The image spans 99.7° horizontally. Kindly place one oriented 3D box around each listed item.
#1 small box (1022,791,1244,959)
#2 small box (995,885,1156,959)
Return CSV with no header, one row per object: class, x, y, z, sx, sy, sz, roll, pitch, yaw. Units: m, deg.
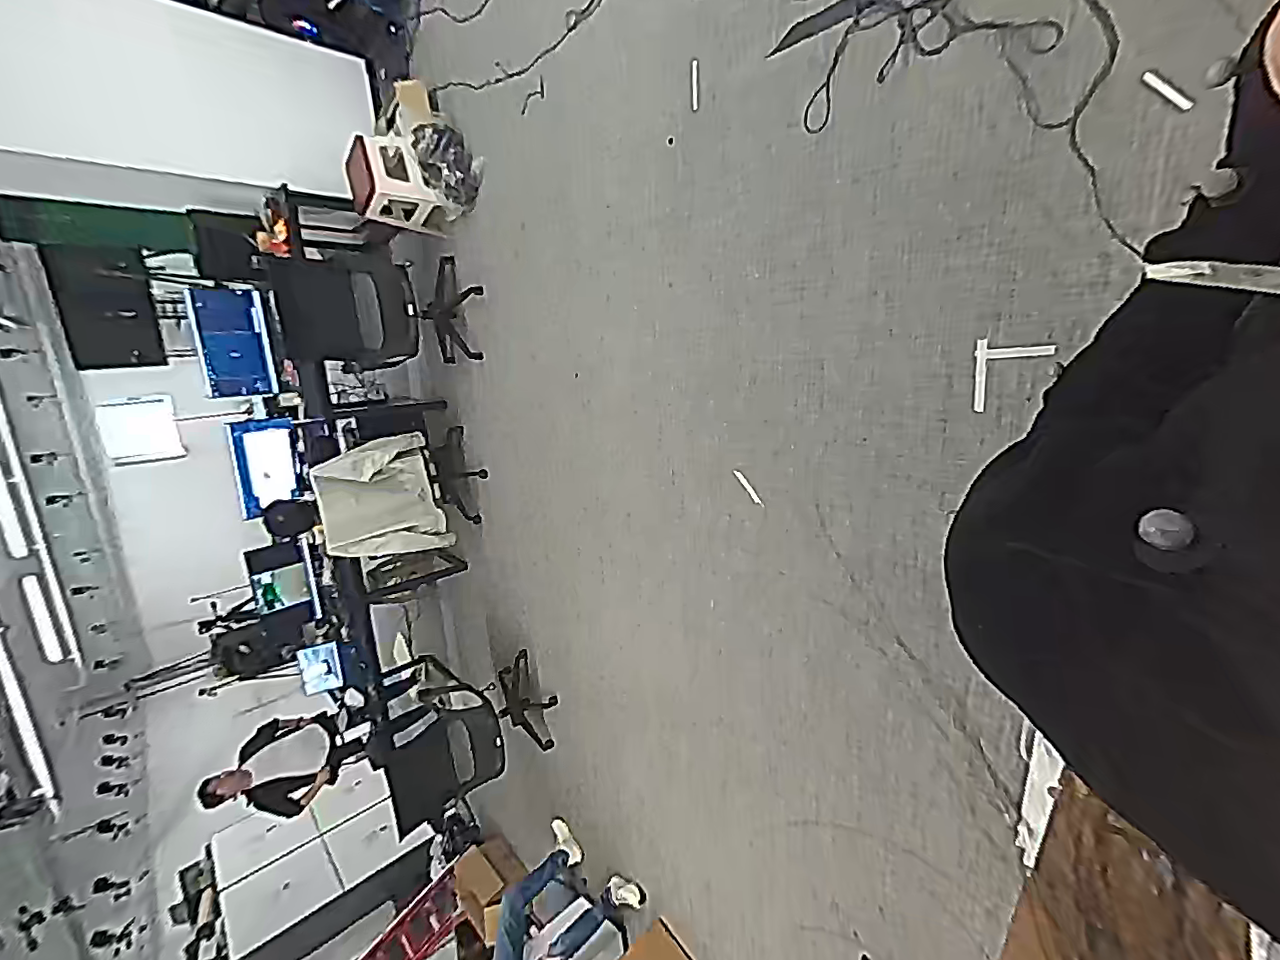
small box,0.526,0.499,0.595,0.168,0.176,0.179,14,112,44
small box,0.406,0.530,0.487,0.168,0.176,0.179,16,115,43
